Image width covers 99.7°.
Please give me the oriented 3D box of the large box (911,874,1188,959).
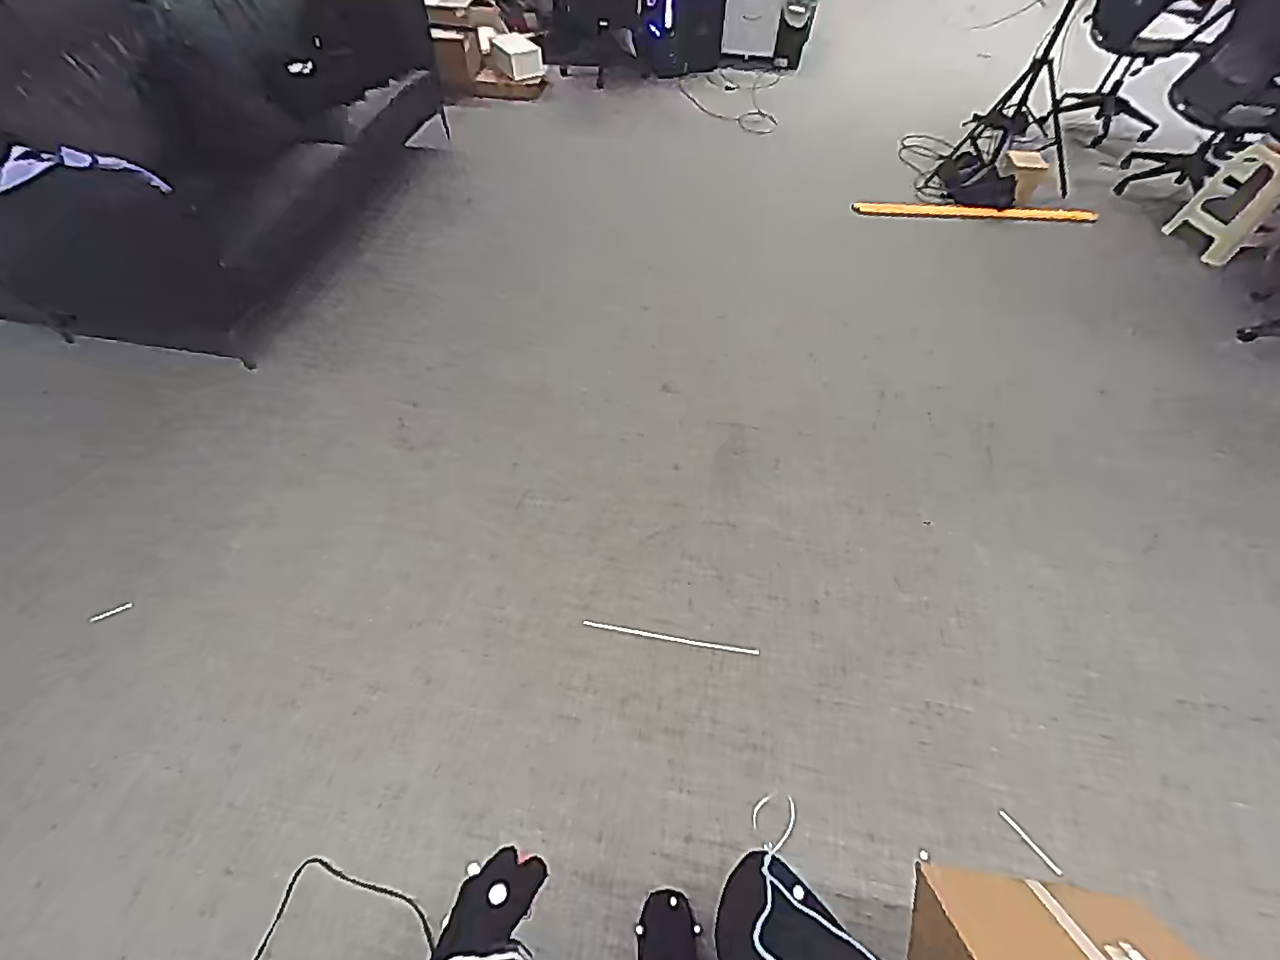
[{"bbox_3d":[0.534,0.753,0.601,0.320,0.408,0.320,7,90,6],"label":"large box"}]
